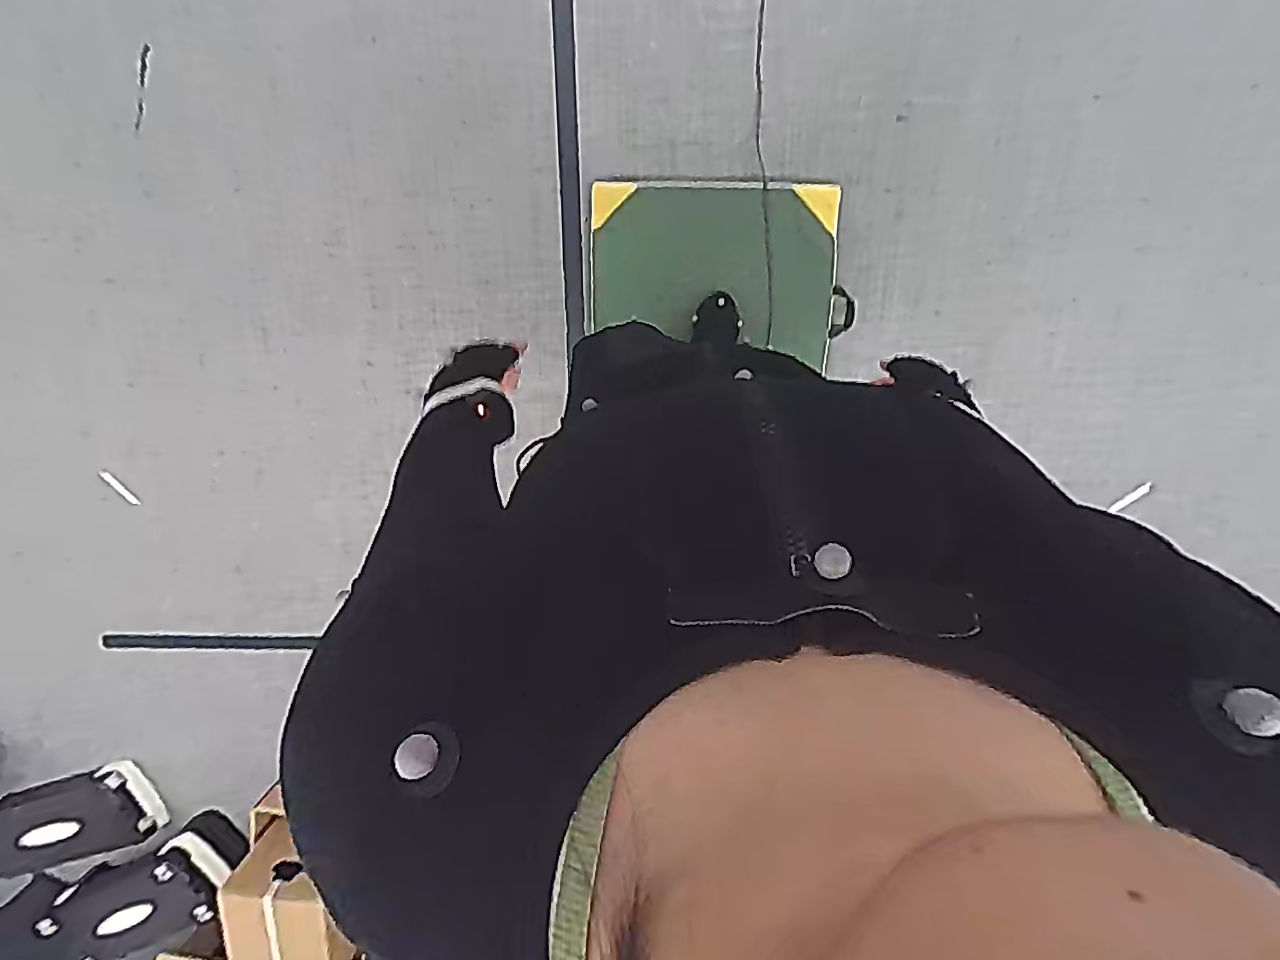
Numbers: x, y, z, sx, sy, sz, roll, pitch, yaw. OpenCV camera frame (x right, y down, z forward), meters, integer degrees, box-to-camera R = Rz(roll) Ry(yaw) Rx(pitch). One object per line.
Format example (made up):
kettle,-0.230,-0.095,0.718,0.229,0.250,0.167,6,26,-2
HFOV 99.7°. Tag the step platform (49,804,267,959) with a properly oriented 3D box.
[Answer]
step platform,-1.716,1.439,1.928,0.684,0.204,0.286,-28,102,9
